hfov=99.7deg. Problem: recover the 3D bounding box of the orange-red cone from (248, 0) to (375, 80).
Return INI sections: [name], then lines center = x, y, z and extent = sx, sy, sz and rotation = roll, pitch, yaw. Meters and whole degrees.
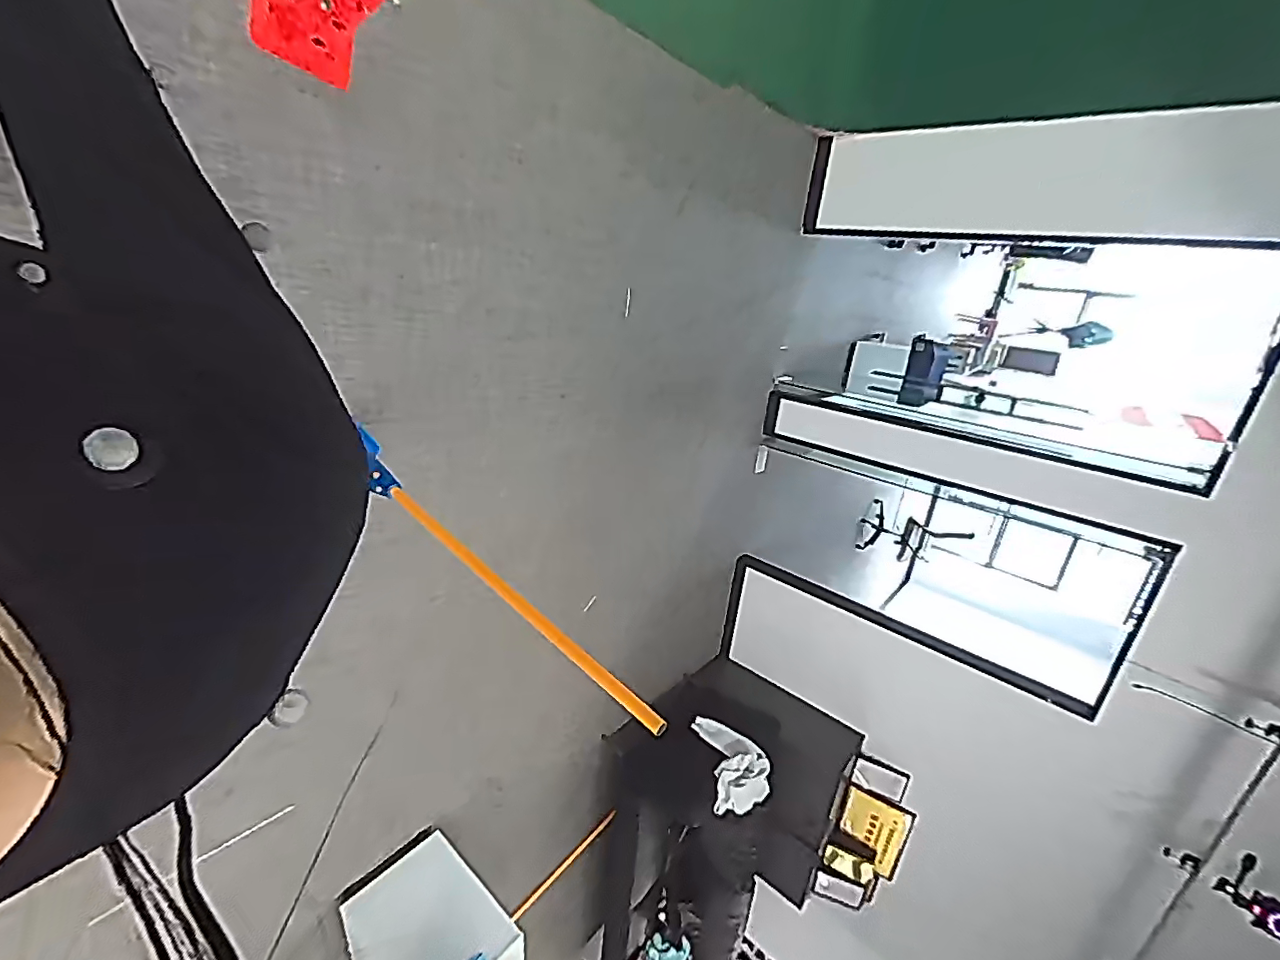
[orange-red cone]
center = -0.590, -0.955, 1.061
extent = 0.198, 0.360, 0.199
rotation = 1, 109, -52
